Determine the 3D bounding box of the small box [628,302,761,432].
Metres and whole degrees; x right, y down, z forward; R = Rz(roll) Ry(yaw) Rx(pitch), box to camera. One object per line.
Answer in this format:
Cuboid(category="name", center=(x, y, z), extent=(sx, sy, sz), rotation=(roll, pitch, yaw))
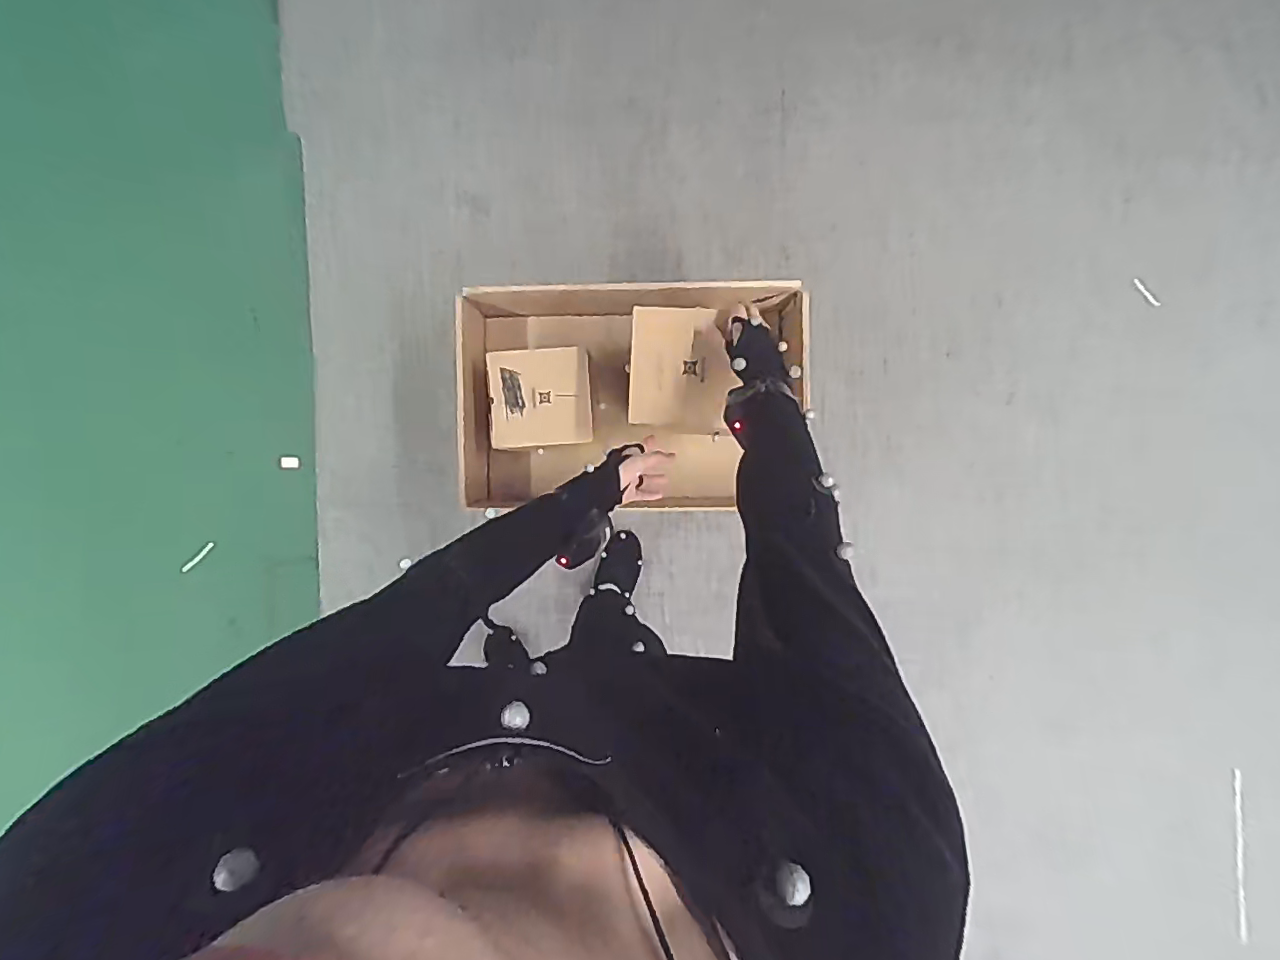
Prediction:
Cuboid(category="small box", center=(0.078, -0.162, 0.825), extent=(0.179, 0.176, 0.168), rotation=(4, 92, 3))
